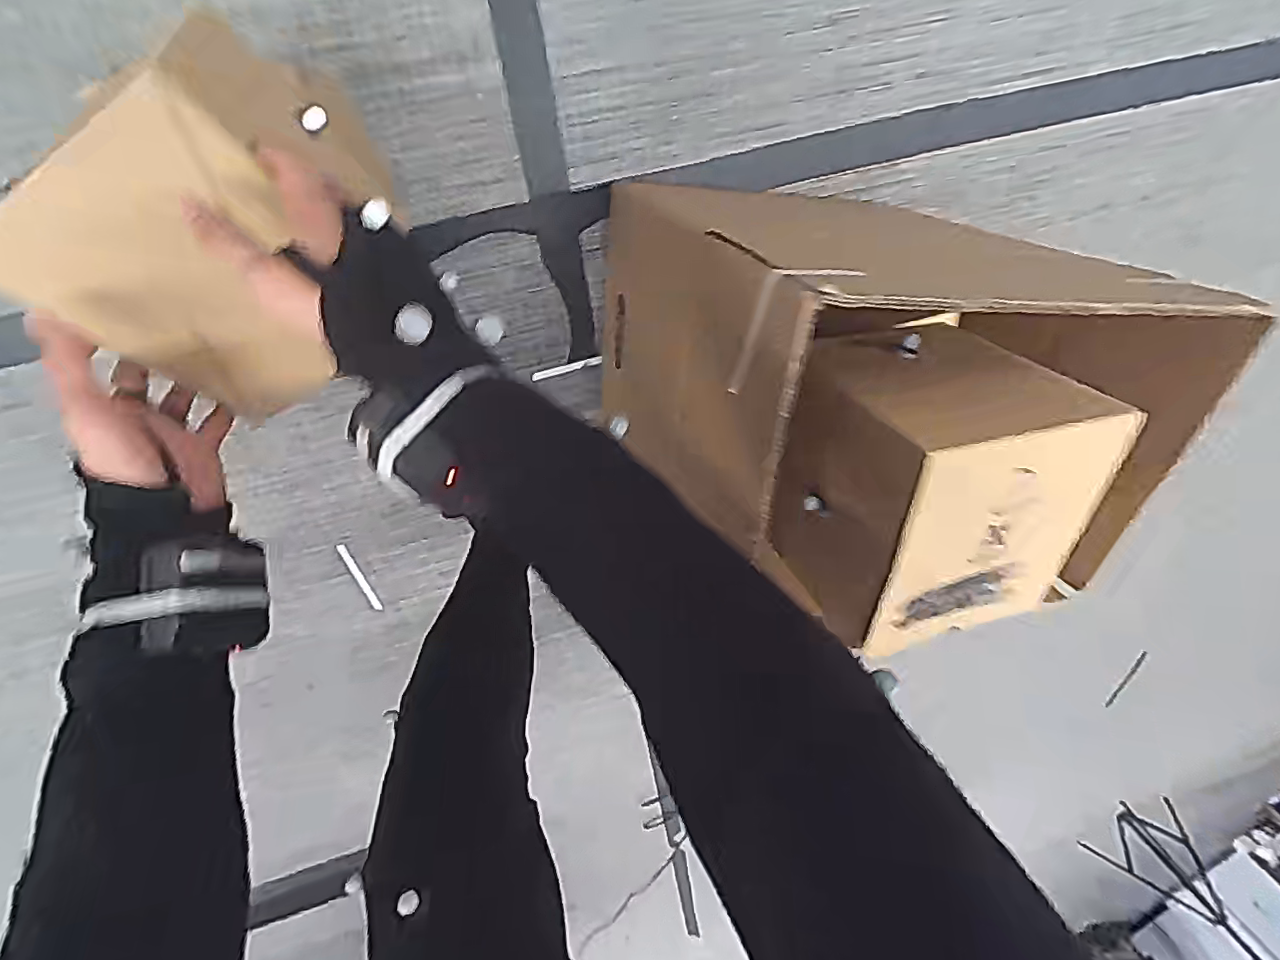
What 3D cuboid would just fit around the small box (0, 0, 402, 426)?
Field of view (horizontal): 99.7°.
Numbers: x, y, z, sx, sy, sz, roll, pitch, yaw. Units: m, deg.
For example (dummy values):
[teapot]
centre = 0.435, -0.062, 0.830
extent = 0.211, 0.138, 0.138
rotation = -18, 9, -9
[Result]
[small box]
centre = -0.289, -0.173, 0.376
extent = 0.168, 0.176, 0.179
rotation = -30, 144, 10
